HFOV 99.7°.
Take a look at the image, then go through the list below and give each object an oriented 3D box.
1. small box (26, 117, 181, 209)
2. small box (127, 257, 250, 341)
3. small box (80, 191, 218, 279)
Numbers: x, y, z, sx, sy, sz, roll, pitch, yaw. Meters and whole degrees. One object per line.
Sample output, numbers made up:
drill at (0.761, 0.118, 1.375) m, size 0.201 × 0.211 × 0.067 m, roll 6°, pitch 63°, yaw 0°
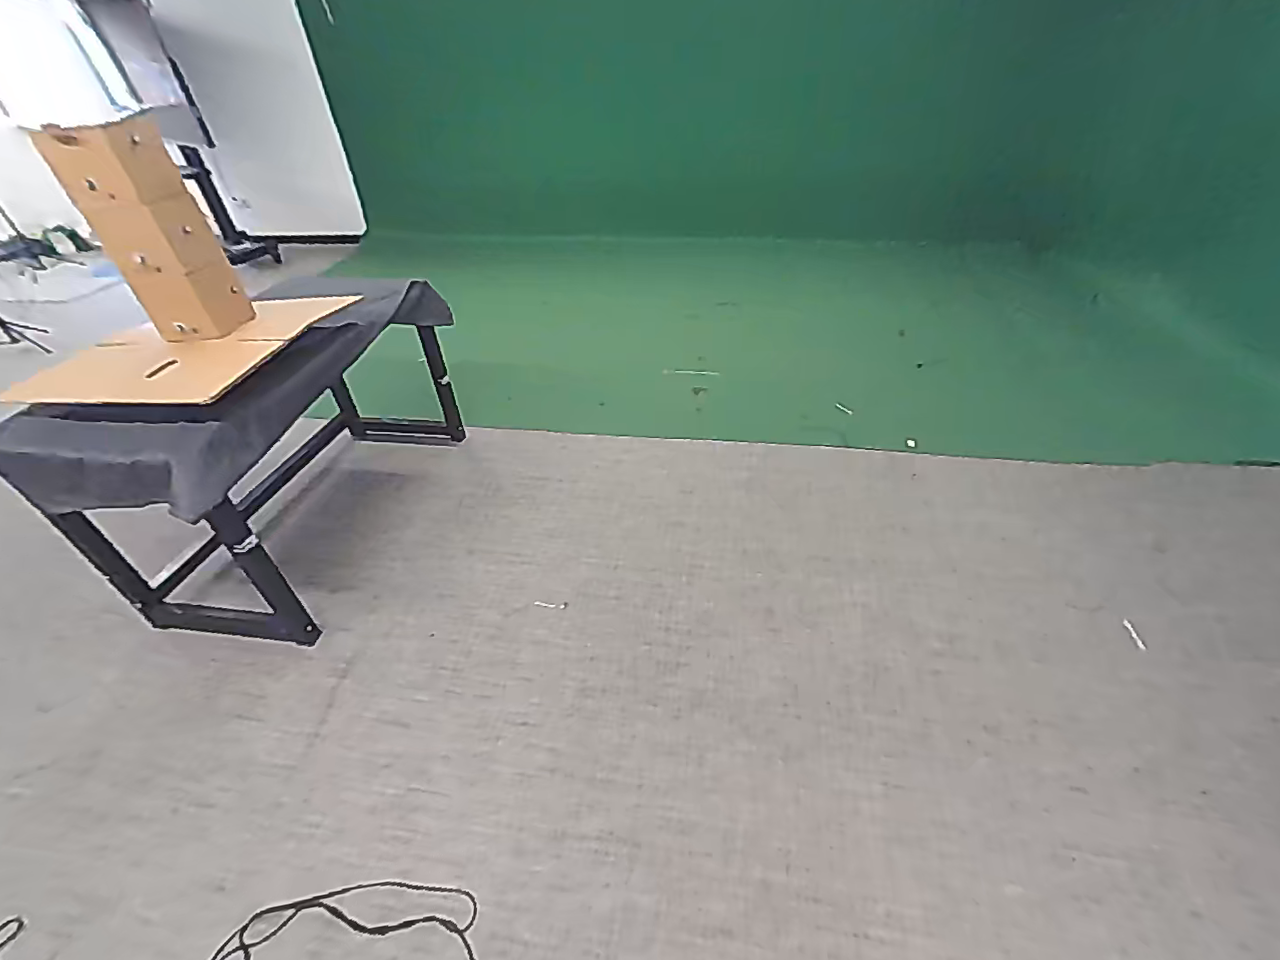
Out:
small box at (-1.265, -0.760, 1.298) m, size 0.168 × 0.176 × 0.179 m, roll -5°, pitch 38°, yaw 2°
small box at (-1.227, -0.499, 1.491) m, size 0.168 × 0.176 × 0.179 m, roll -5°, pitch 38°, yaw 3°
small box at (-1.244, -0.630, 1.393) m, size 0.168 × 0.176 × 0.179 m, roll -5°, pitch 37°, yaw 3°
